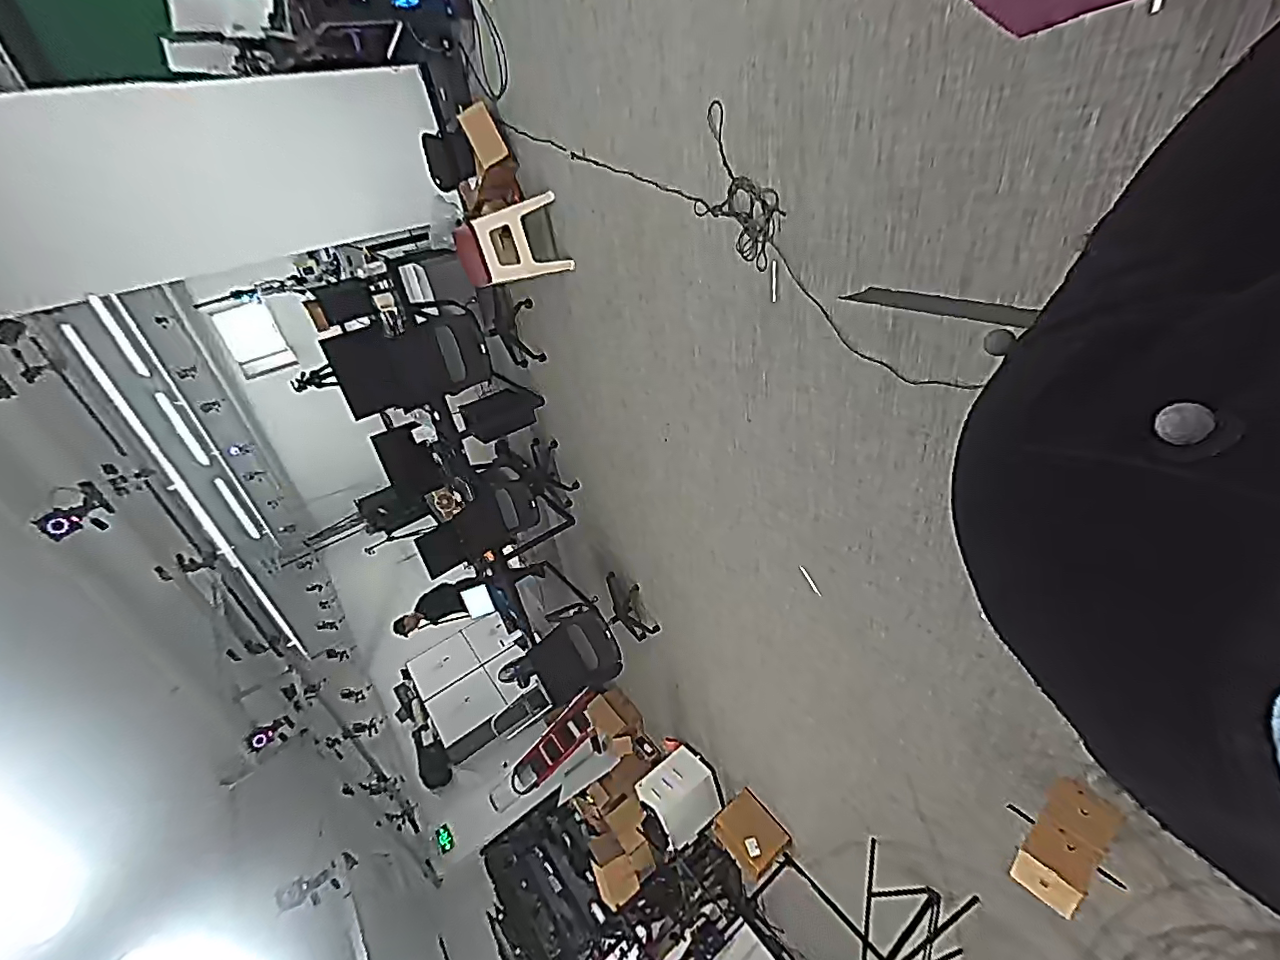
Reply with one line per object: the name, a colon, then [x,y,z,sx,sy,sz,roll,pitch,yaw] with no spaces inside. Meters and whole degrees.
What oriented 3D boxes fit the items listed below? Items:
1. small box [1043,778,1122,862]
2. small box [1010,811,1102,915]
small box: [1.431,1.122,1.765,0.168,0.176,0.179,28,139,48]
small box: [1.303,1.194,1.693,0.168,0.176,0.179,29,138,47]
